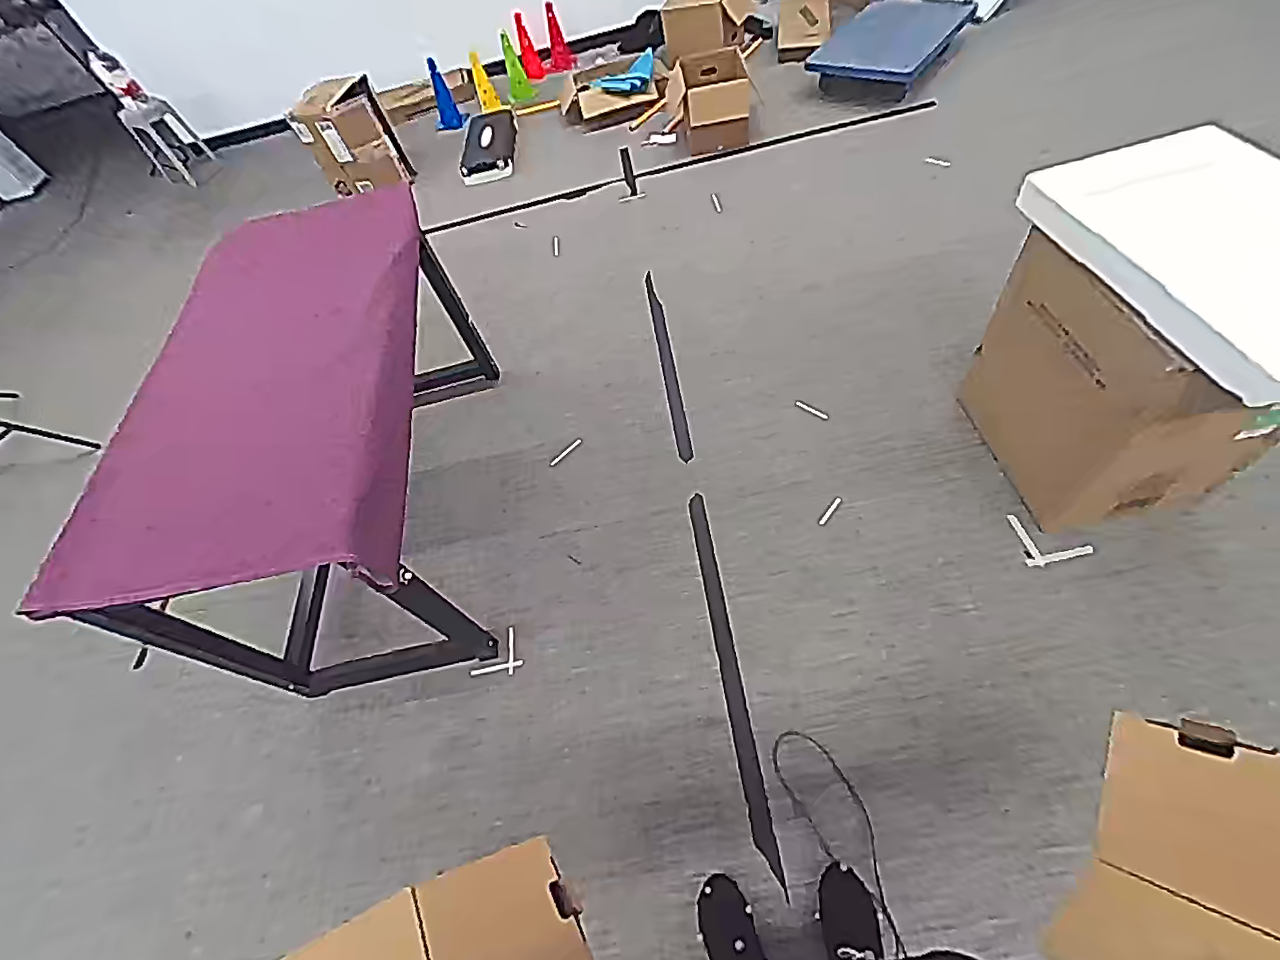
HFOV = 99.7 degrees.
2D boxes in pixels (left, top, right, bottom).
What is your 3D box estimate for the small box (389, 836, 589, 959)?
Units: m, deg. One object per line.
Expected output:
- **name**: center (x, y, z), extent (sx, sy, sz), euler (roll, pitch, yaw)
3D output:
- **small box**: center (-0.190, 0.583, 0.648), extent (0.179, 0.176, 0.168), euler (4, 29, -39)
